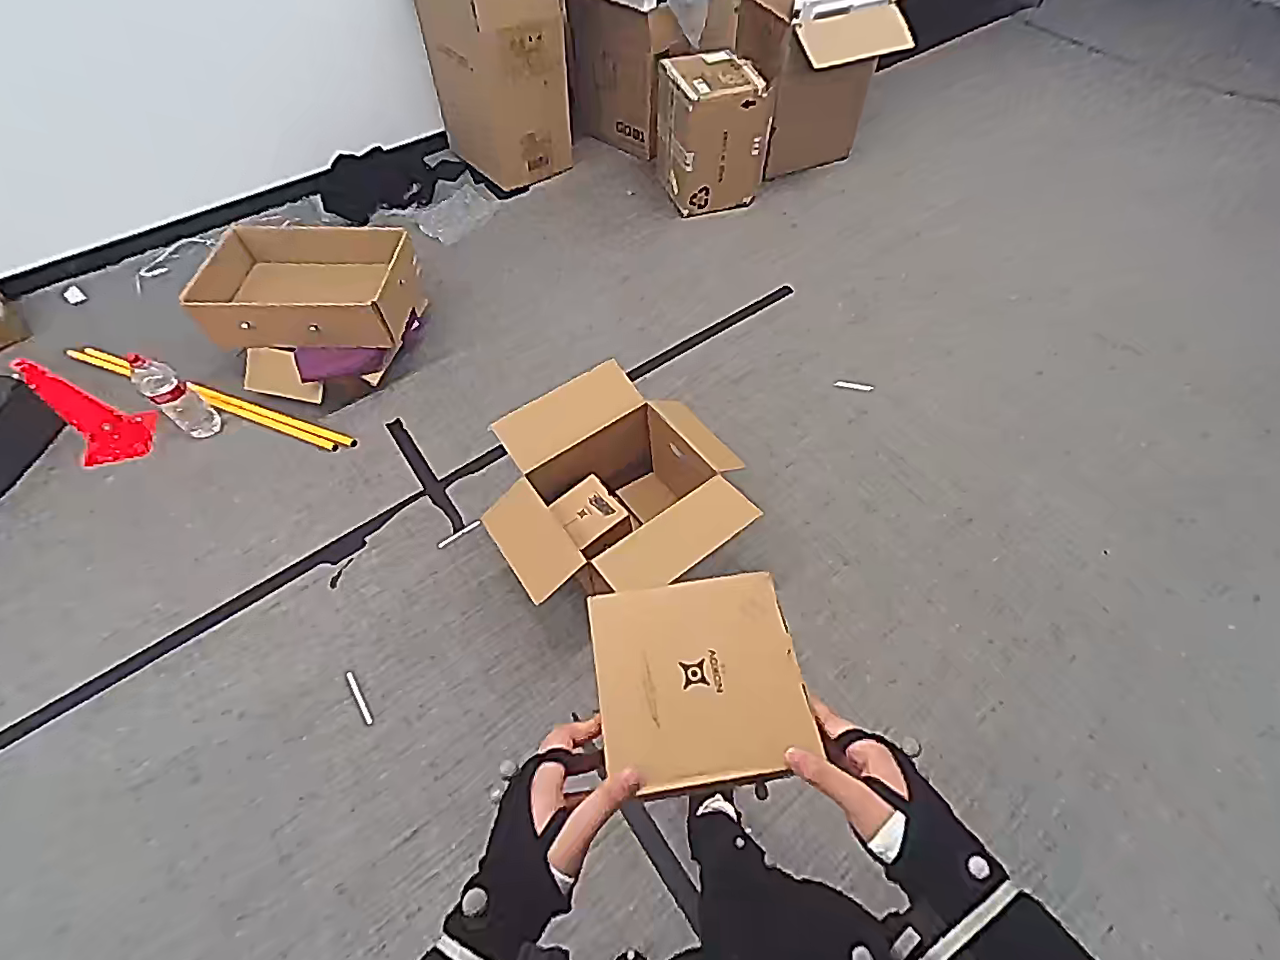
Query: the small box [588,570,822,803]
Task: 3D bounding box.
[{"bbox_3d":[0.050,0.207,0.531,0.179,0.176,0.168,-9,57,-4],"label":"small box"}]
